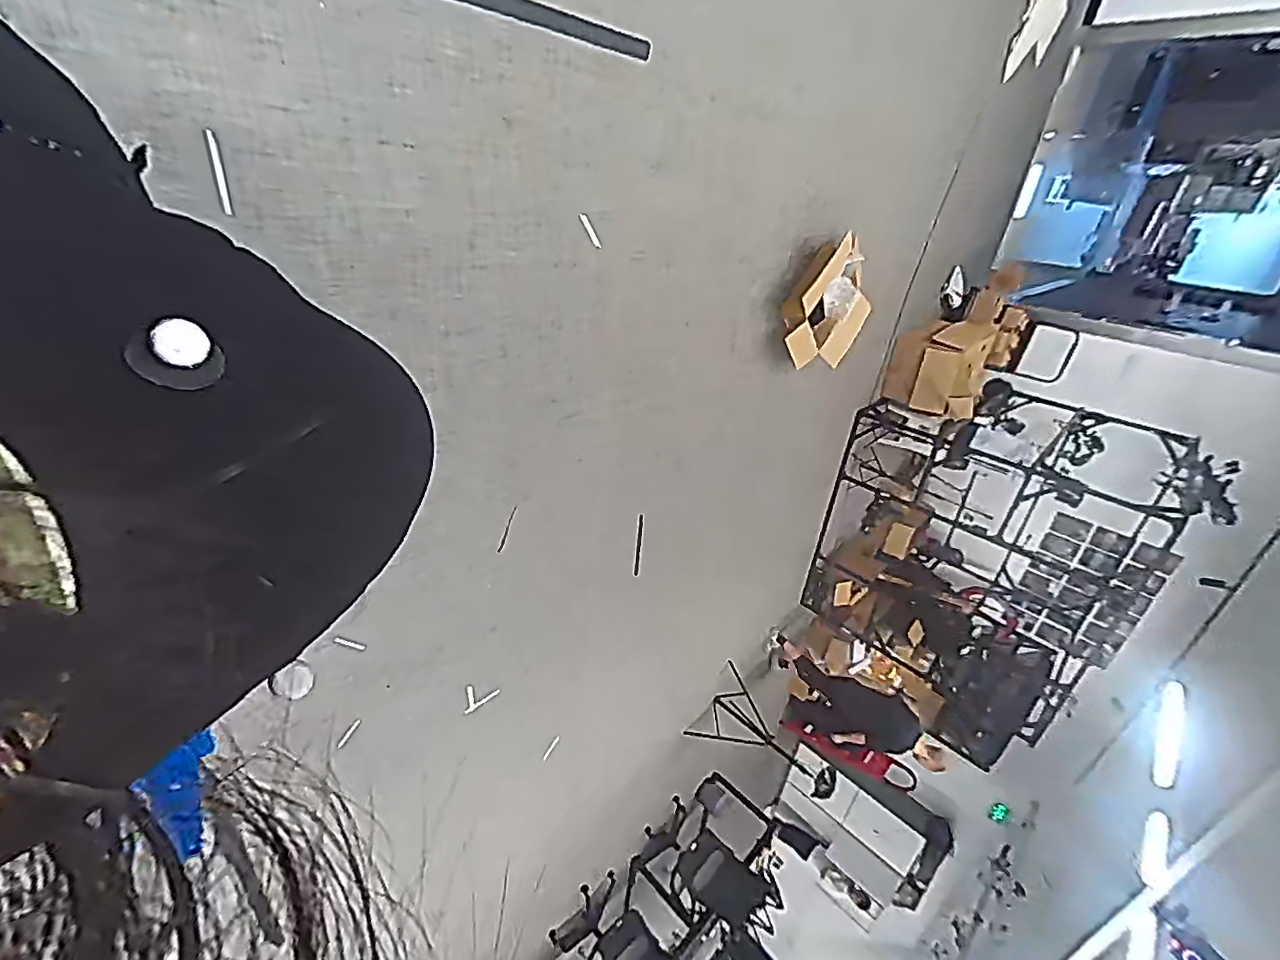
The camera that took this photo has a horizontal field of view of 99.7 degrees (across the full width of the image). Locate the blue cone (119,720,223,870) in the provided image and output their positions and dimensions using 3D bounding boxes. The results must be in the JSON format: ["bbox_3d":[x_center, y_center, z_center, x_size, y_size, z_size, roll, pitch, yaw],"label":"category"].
[{"bbox_3d":[-1.152,0.829,1.377,0.193,0.380,0.192,-23,130,-40],"label":"blue cone"}]
